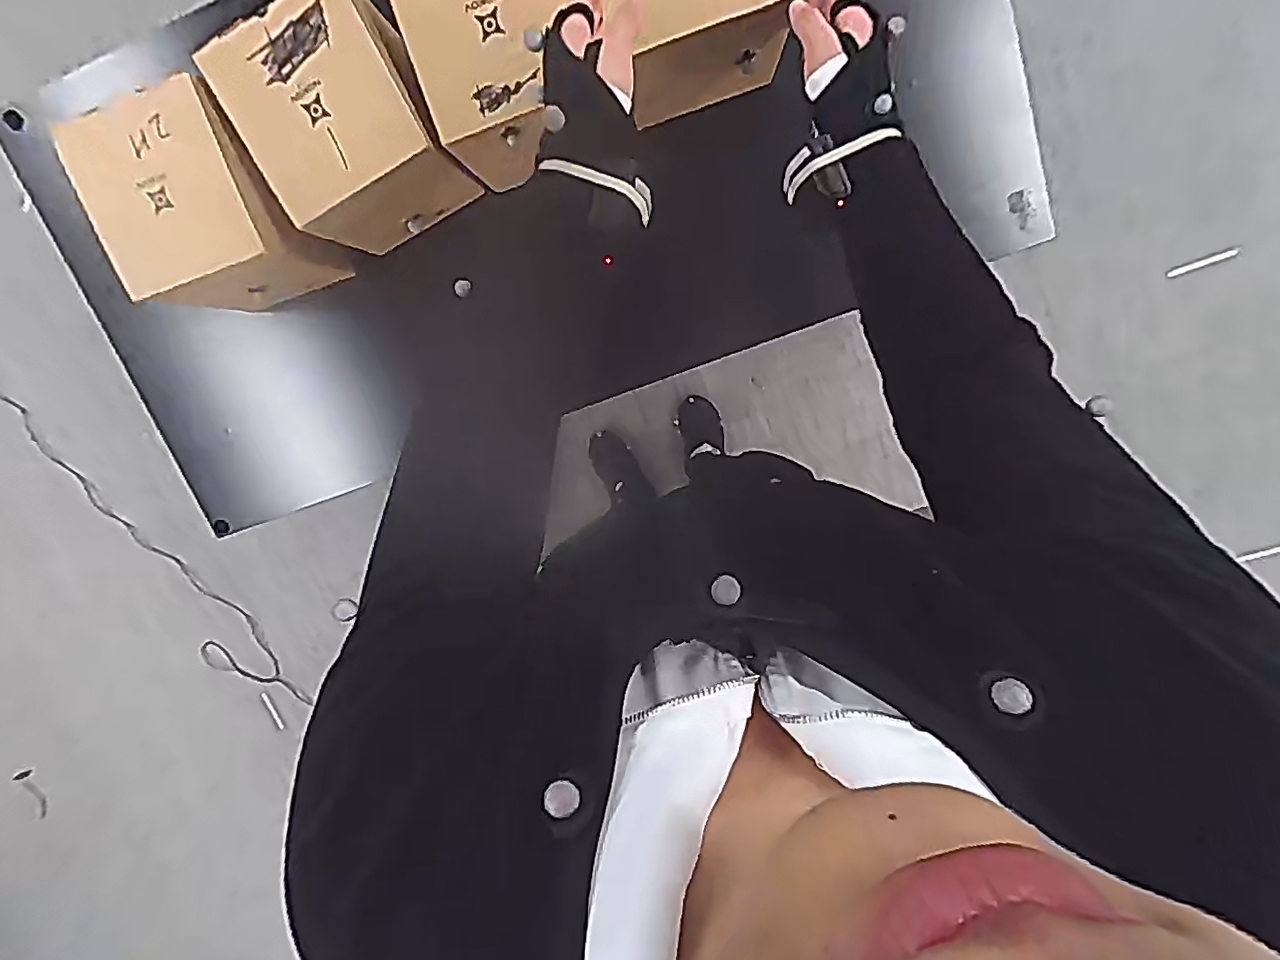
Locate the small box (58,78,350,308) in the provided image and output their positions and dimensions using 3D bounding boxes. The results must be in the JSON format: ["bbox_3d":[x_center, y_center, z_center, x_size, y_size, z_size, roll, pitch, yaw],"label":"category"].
[{"bbox_3d":[-0.480,-0.308,0.629,0.168,0.176,0.179,-16,101,7],"label":"small box"}]
